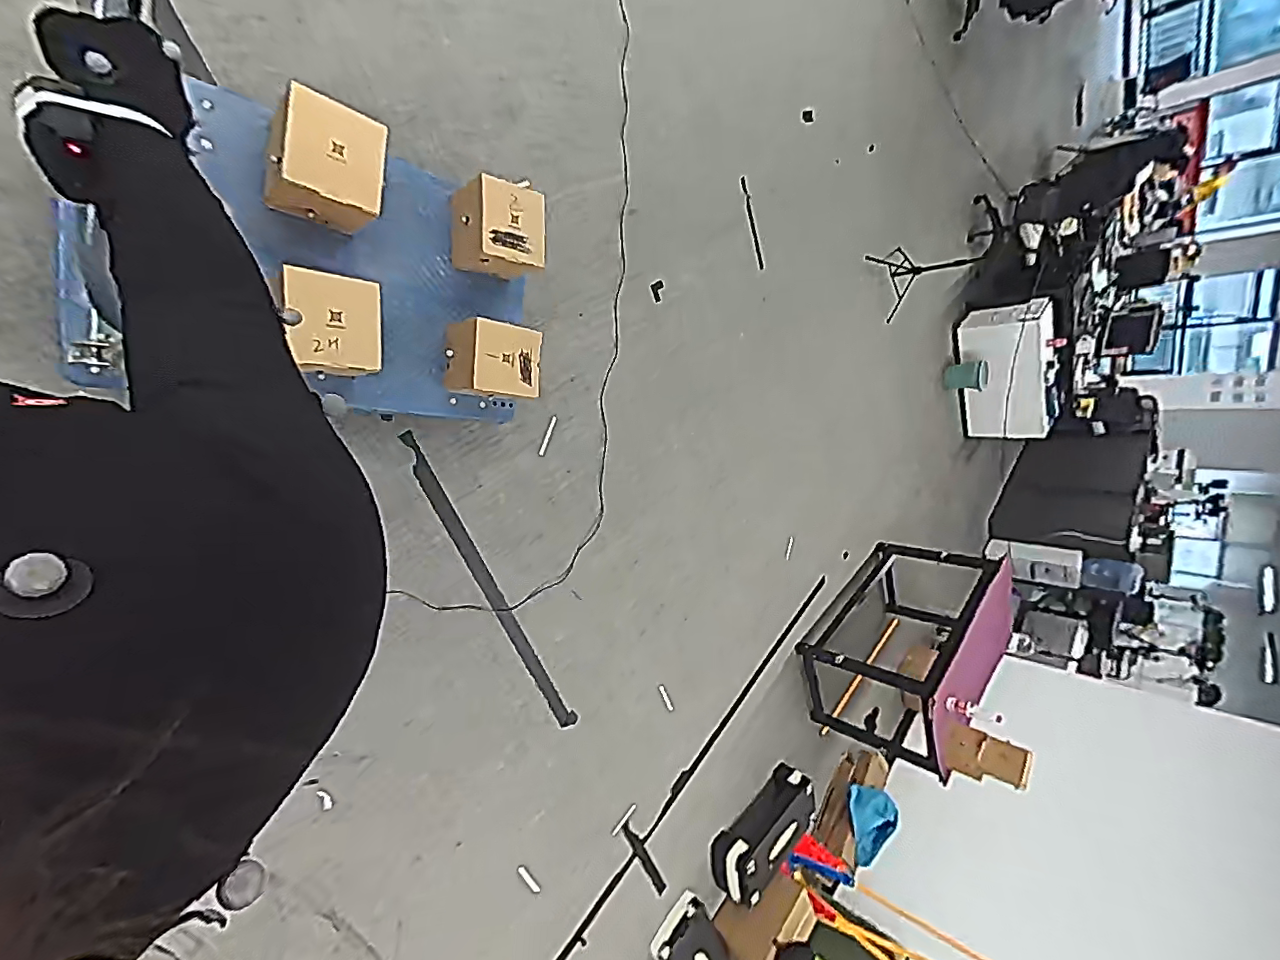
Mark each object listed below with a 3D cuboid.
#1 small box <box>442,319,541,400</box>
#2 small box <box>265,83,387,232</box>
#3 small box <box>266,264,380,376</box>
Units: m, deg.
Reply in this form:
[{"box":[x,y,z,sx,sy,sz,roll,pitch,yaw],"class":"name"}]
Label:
[{"box":[-0.371,-0.292,1.345,0.179,0.176,0.168,2,93,-43],"class":"small box"},{"box":[-0.622,-0.619,1.066,0.168,0.176,0.179,5,93,-45],"class":"small box"},{"box":[-0.637,-0.309,1.085,0.168,0.176,0.179,-3,96,-44],"class":"small box"}]
